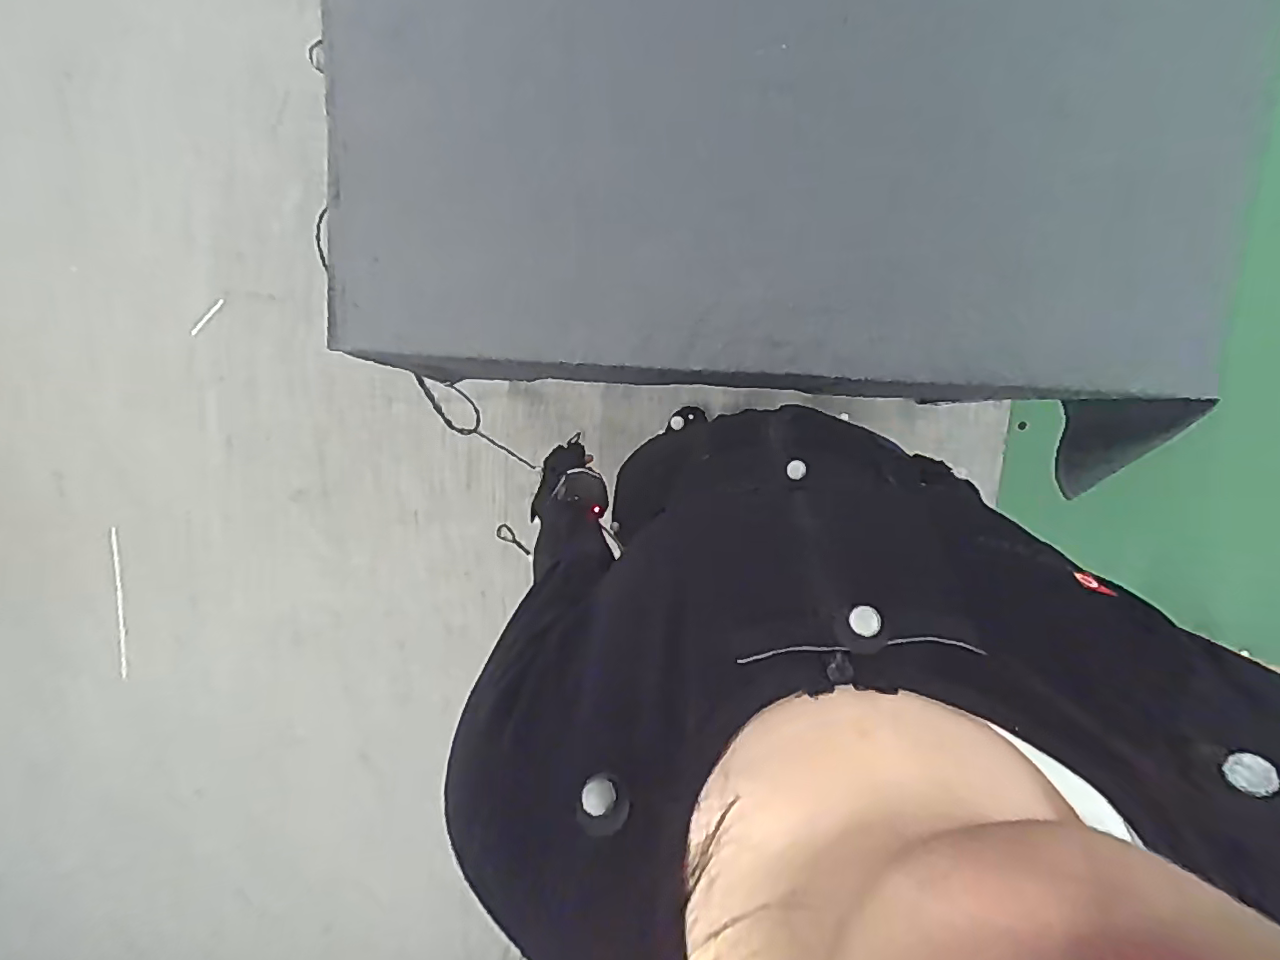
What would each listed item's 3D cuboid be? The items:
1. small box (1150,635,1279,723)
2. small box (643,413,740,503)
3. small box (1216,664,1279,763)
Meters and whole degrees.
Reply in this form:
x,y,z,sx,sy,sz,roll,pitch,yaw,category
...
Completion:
x,y,z,sx,sy,sz,roll,pitch,yaw,category
1.455,0.506,1.363,0.179,0.176,0.168,9,96,2,small box
0.129,-0.060,1.409,0.179,0.176,0.168,45,109,16,small box
1.454,0.532,1.200,0.168,0.176,0.179,8,96,3,small box
